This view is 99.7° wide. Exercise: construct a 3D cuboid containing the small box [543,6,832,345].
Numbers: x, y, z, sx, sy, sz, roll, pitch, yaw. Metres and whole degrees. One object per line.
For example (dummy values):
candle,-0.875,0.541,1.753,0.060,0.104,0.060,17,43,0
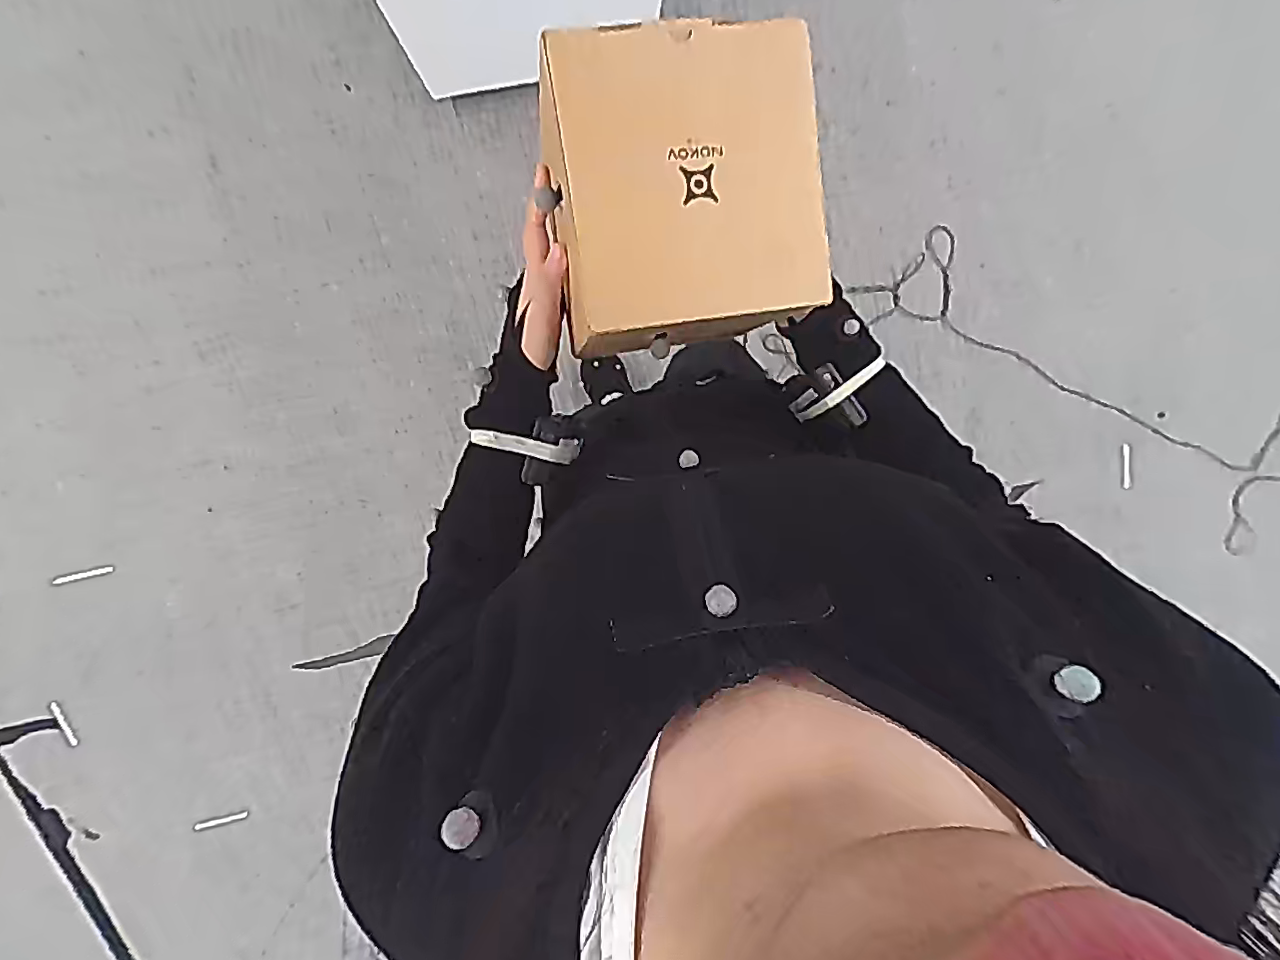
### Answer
small box,0.023,-0.204,0.413,0.168,0.176,0.179,-10,98,-9
